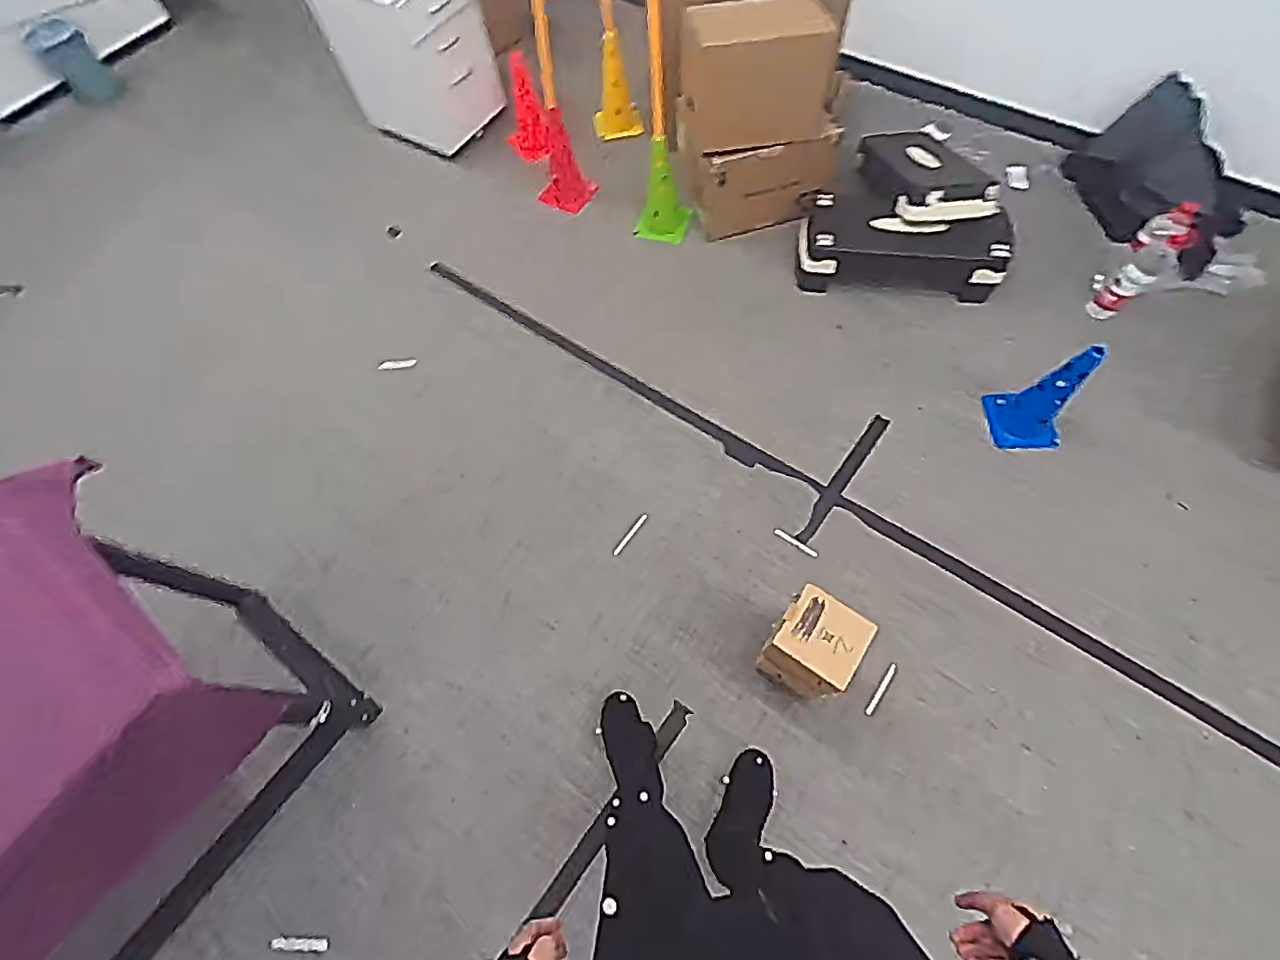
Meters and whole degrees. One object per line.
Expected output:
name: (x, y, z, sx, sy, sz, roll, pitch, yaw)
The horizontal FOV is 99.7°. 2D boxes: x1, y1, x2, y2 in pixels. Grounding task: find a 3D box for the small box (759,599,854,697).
small box: (0.421, 0.440, 1.395, 0.168, 0.176, 0.179, 29, 70, 16)
